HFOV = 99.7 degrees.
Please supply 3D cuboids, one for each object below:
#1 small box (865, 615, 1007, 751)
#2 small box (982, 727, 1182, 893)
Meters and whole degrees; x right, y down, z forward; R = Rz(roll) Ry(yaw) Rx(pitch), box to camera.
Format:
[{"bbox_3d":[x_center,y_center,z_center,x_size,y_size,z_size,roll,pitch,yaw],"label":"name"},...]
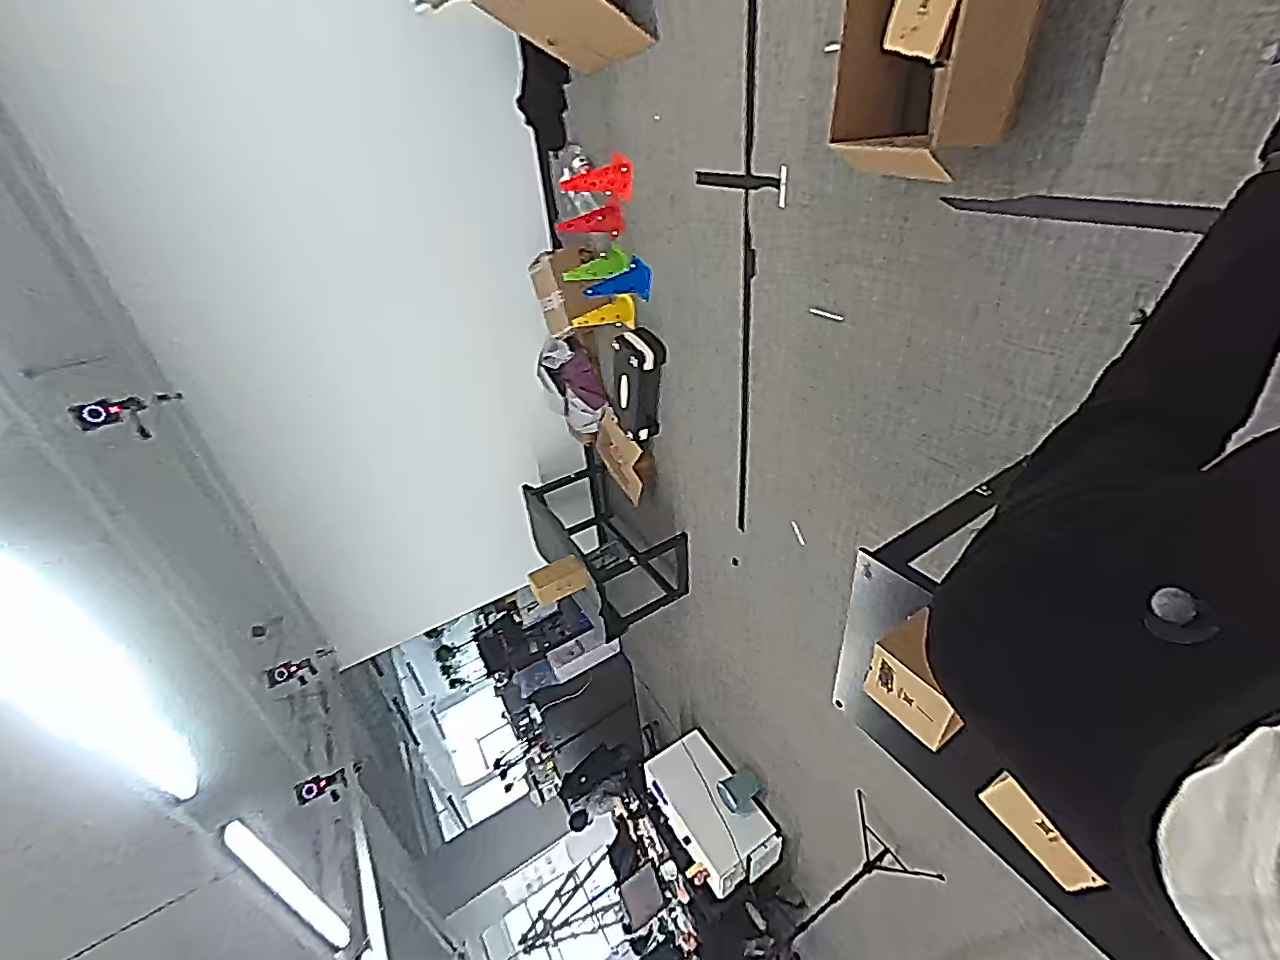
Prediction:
[{"bbox_3d":[0.603,0.405,1.115,0.179,0.176,0.168,40,146,45],"label":"small box"},{"bbox_3d":[0.754,0.558,0.934,0.179,0.176,0.168,49,151,35],"label":"small box"}]
